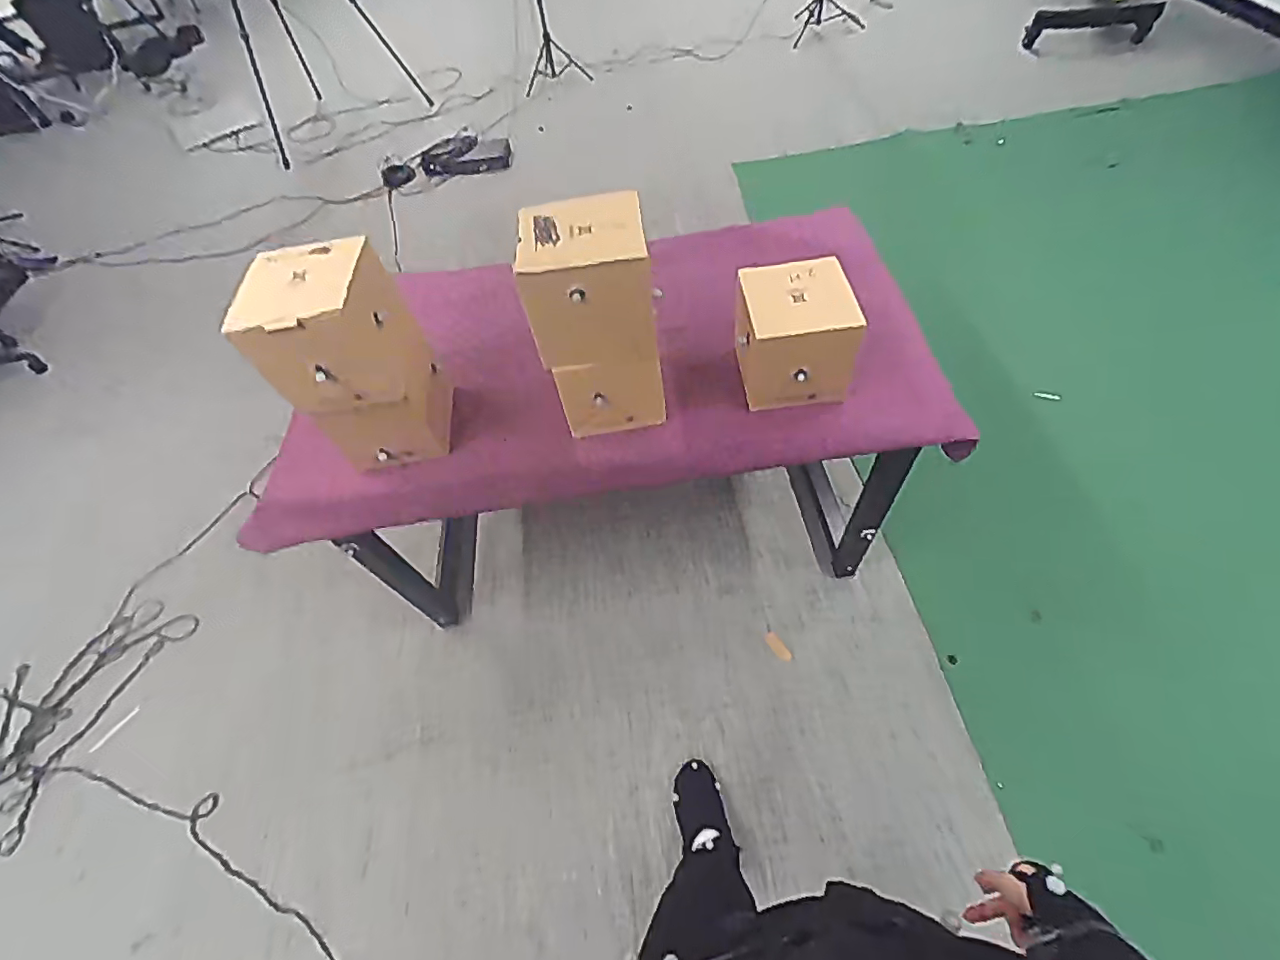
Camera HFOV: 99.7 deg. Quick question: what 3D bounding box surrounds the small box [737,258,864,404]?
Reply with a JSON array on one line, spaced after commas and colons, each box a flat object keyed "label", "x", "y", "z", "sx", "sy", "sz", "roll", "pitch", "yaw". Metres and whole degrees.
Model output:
[{"label": "small box", "x": 0.260, "y": -0.244, "z": 0.920, "sx": 0.168, "sy": 0.176, "sz": 0.179, "roll": -6, "pitch": 55, "yaw": 4}]

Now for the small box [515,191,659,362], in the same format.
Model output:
[{"label": "small box", "x": -0.071, "y": -0.292, "z": 0.798, "sx": 0.179, "sy": 0.176, "sz": 0.168, "roll": -7, "pitch": 55, "yaw": 2}]

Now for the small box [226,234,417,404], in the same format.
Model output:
[{"label": "small box", "x": -0.453, "y": -0.229, "z": 0.804, "sx": 0.168, "sy": 0.176, "sz": 0.179, "roll": -8, "pitch": 56, "yaw": 2}]

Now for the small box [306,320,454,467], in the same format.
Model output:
[{"label": "small box", "x": -0.438, "y": -0.147, "z": 0.945, "sx": 0.168, "sy": 0.176, "sz": 0.179, "roll": -10, "pitch": 56, "yaw": 1}]

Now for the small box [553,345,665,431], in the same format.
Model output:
[{"label": "small box", "x": -0.053, "y": -0.201, "z": 0.934, "sx": 0.168, "sy": 0.176, "sz": 0.179, "roll": -10, "pitch": 54, "yaw": 1}]
